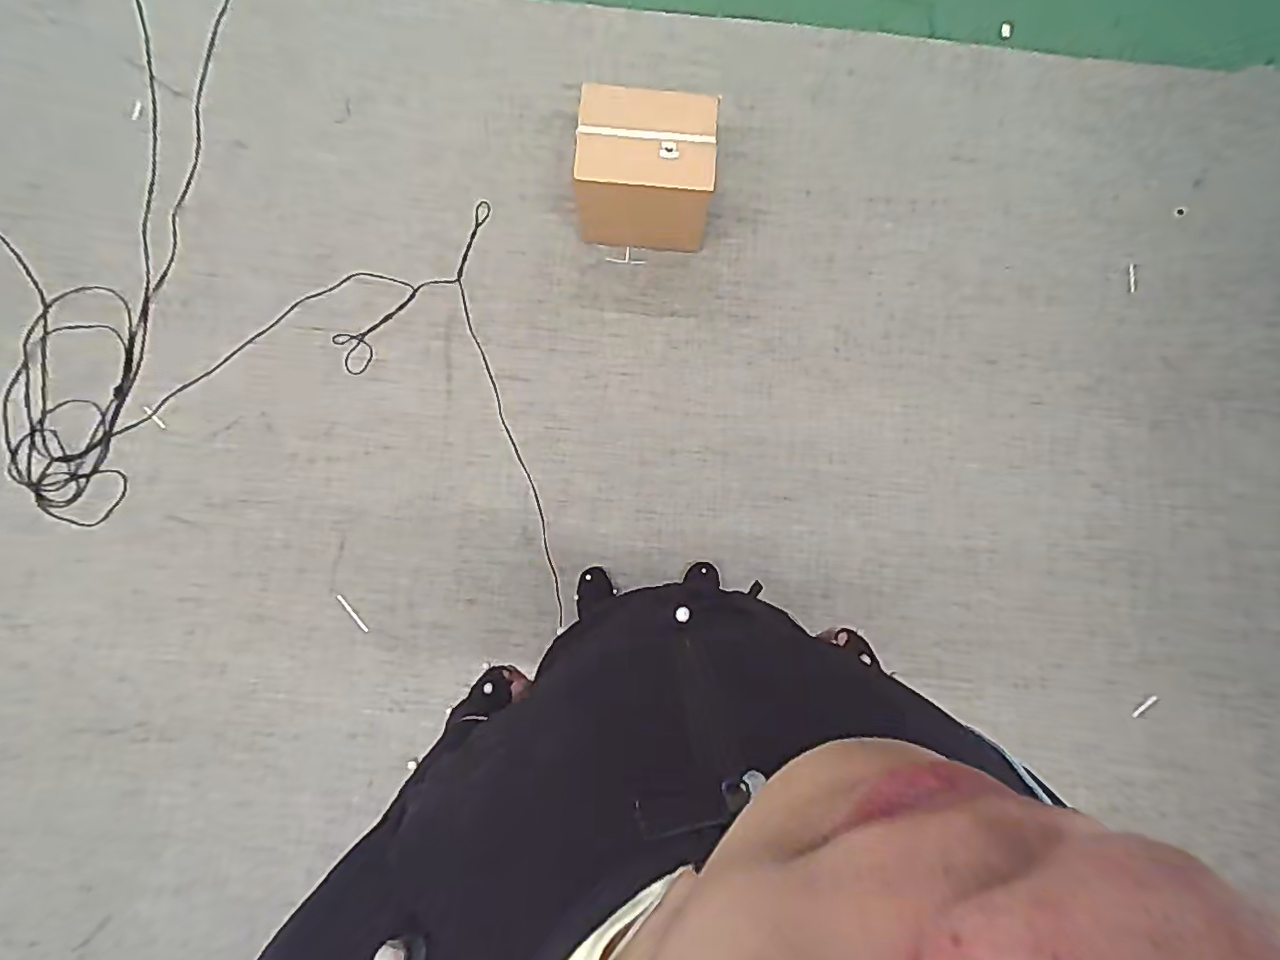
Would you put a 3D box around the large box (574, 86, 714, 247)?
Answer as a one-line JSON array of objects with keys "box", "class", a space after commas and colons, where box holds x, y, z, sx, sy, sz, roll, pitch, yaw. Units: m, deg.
[{"box": [0.006, -0.972, 1.709, 0.408, 0.320, 0.320, 3, 81, -2], "class": "large box"}]
